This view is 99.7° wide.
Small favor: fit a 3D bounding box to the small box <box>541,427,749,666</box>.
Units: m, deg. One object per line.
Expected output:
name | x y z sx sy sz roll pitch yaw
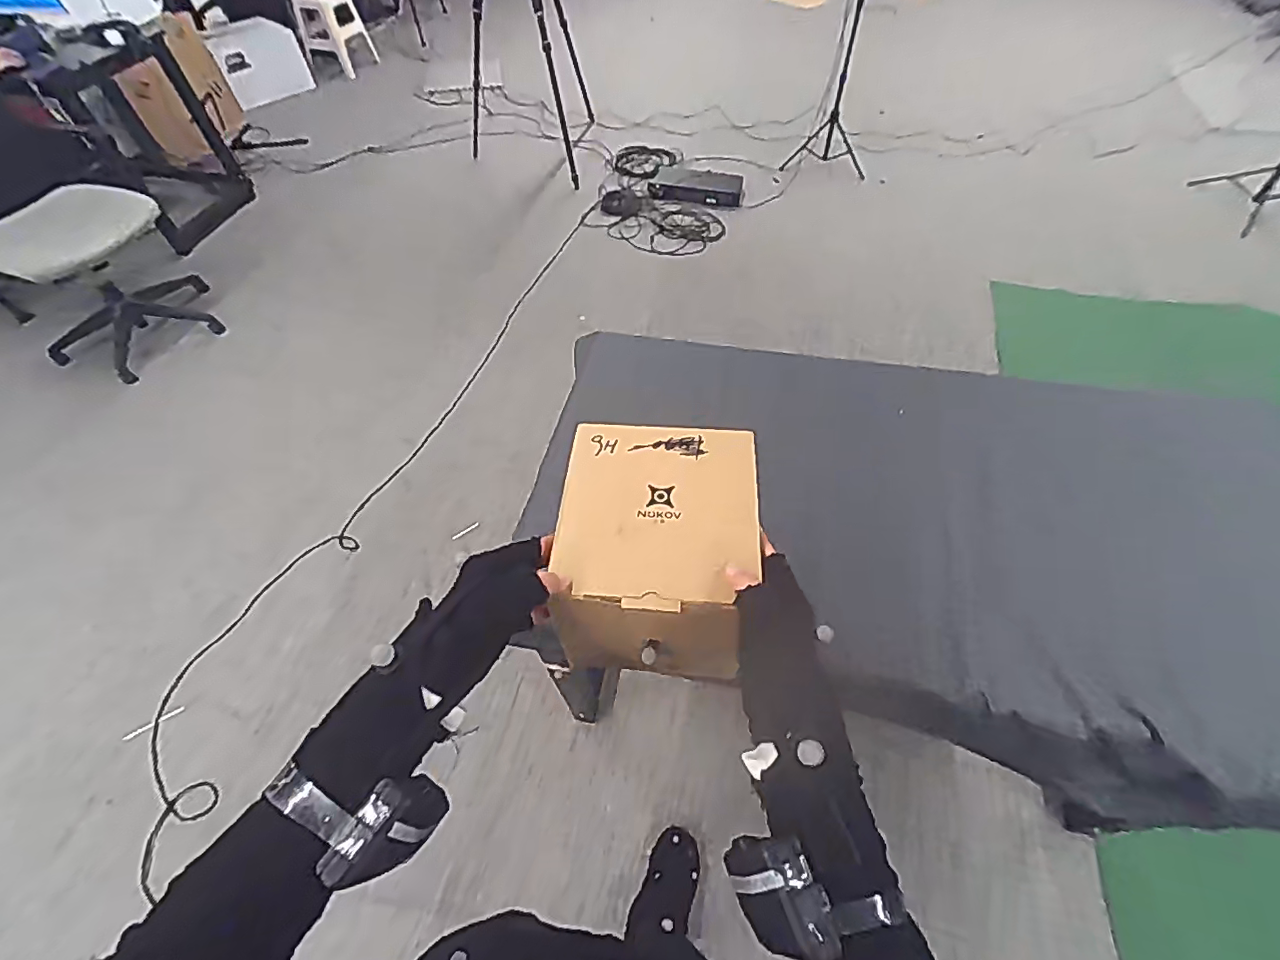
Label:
small box | 0.014 0.069 0.525 0.168 0.176 0.179 2 55 4
